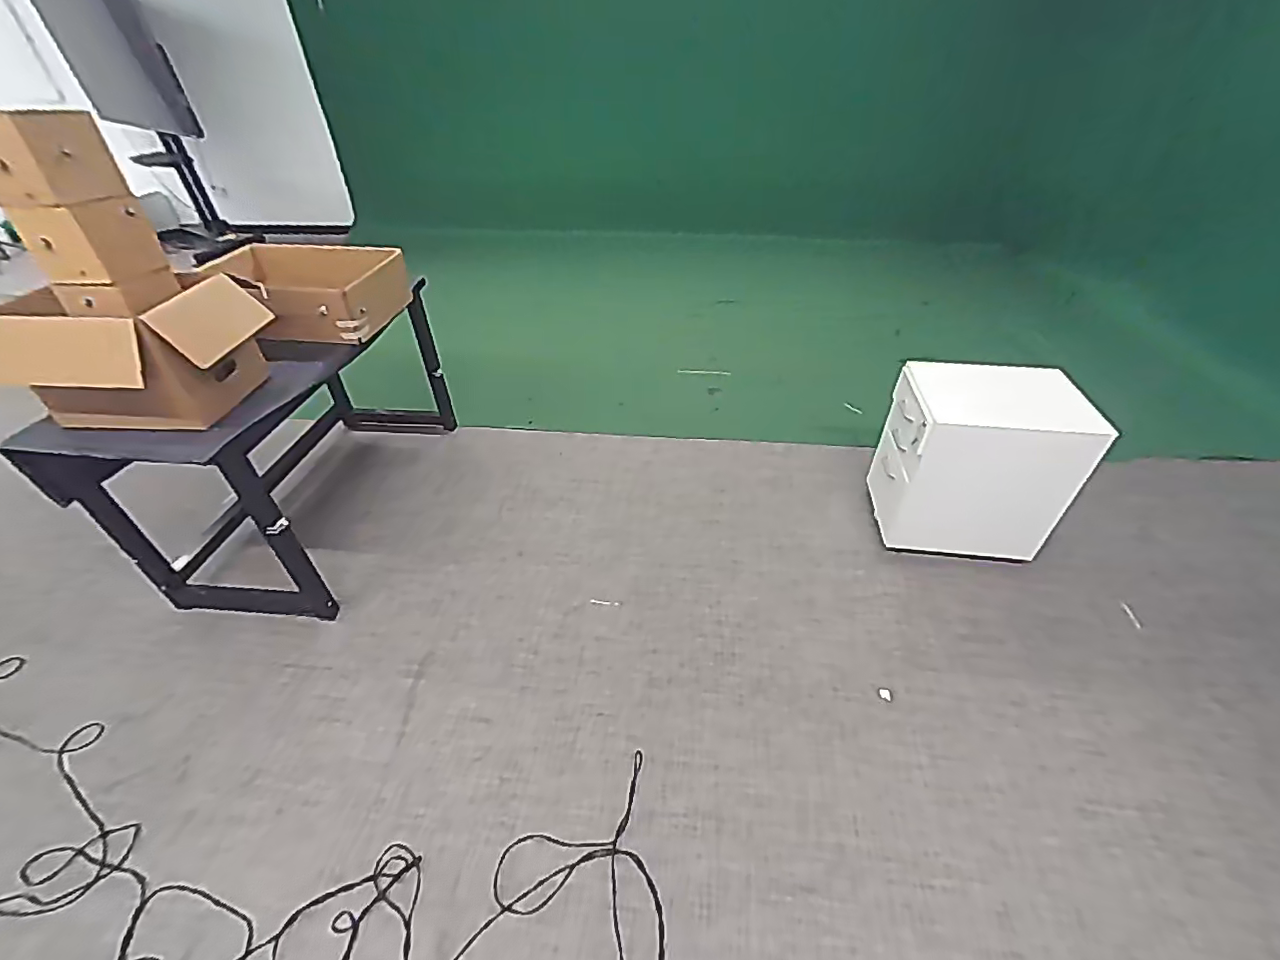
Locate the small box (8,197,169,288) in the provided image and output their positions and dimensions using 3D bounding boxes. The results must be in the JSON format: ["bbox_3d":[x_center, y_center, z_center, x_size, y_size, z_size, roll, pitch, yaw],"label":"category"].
[{"bbox_3d":[-1.292,-0.564,1.286,0.168,0.176,0.179,2,35,6],"label":"small box"}]

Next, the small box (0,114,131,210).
[{"bbox_3d":[-1.301,-0.697,1.190,0.168,0.176,0.179,3,36,8],"label":"small box"}]
